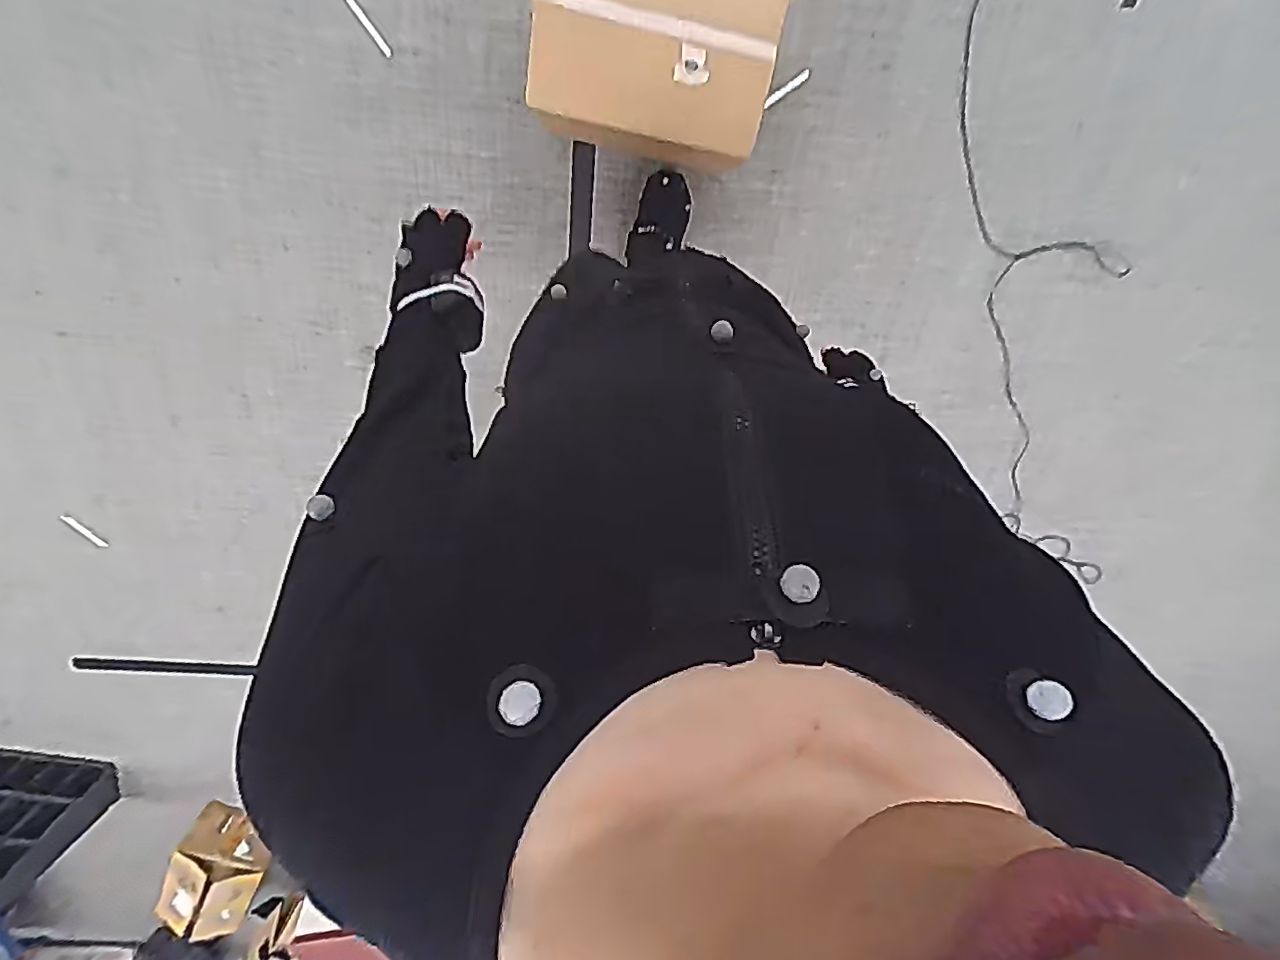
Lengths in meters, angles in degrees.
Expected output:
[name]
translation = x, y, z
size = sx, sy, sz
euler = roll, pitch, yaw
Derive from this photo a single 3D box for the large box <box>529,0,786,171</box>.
[large box]
translation = 0.022, -0.811, 1.019
size = 0.408, 0.320, 0.320
euler = 9, 115, -7
